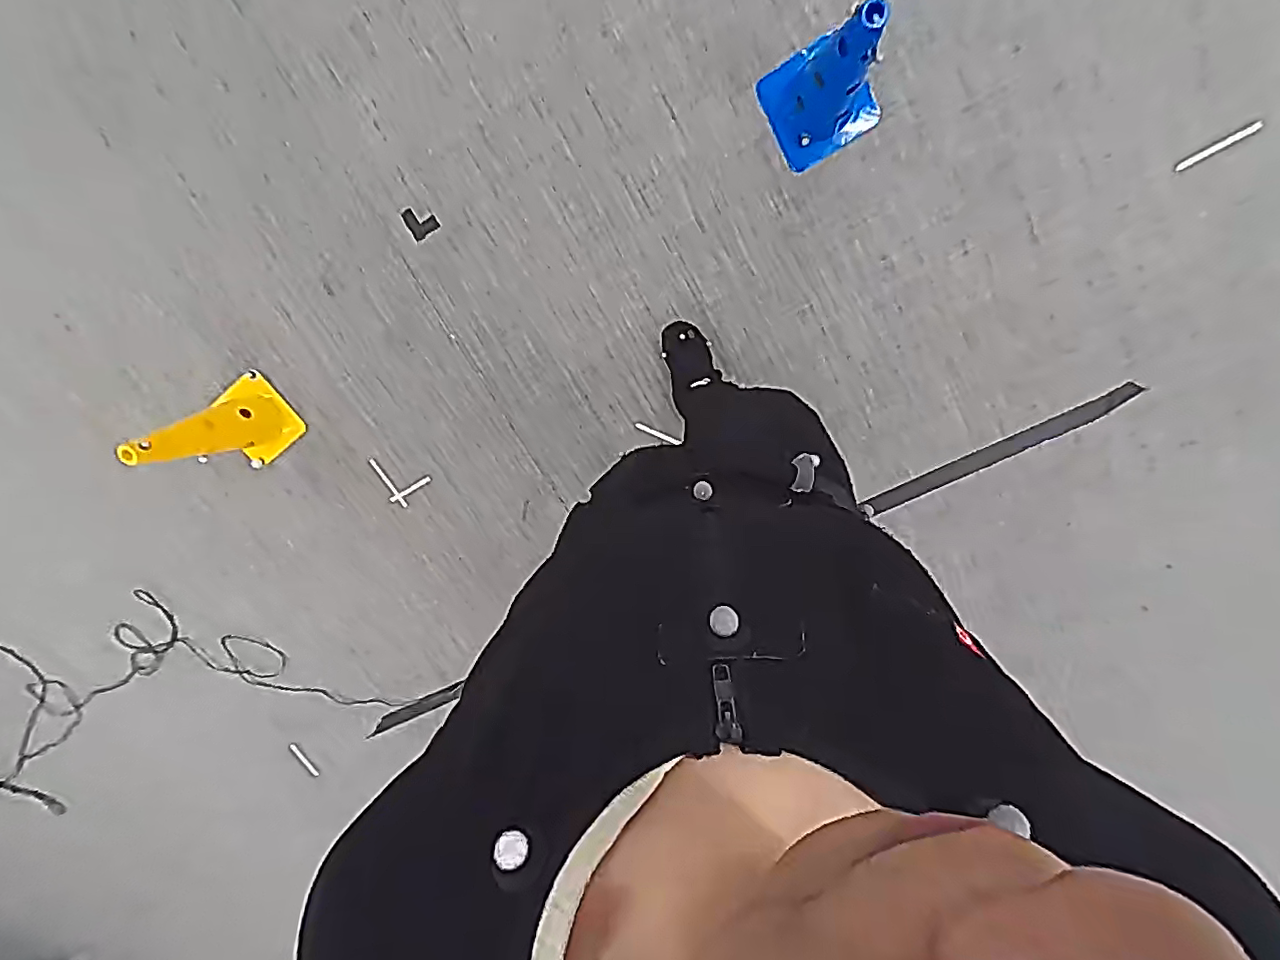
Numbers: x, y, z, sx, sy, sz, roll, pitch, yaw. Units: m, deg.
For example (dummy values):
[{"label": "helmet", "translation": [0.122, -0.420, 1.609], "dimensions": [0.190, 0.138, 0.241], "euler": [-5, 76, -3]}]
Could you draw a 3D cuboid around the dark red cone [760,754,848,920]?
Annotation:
[{"label": "dark red cone", "translation": [0.466, 0.950, 1.437], "dimensions": [0.202, 0.394, 0.201], "euler": [-35, 100, 14]}]

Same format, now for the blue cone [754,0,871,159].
[{"label": "blue cone", "translation": [0.336, -0.736, 0.947], "dimensions": [0.193, 0.380, 0.192], "euler": [-27, 102, 12]}]
